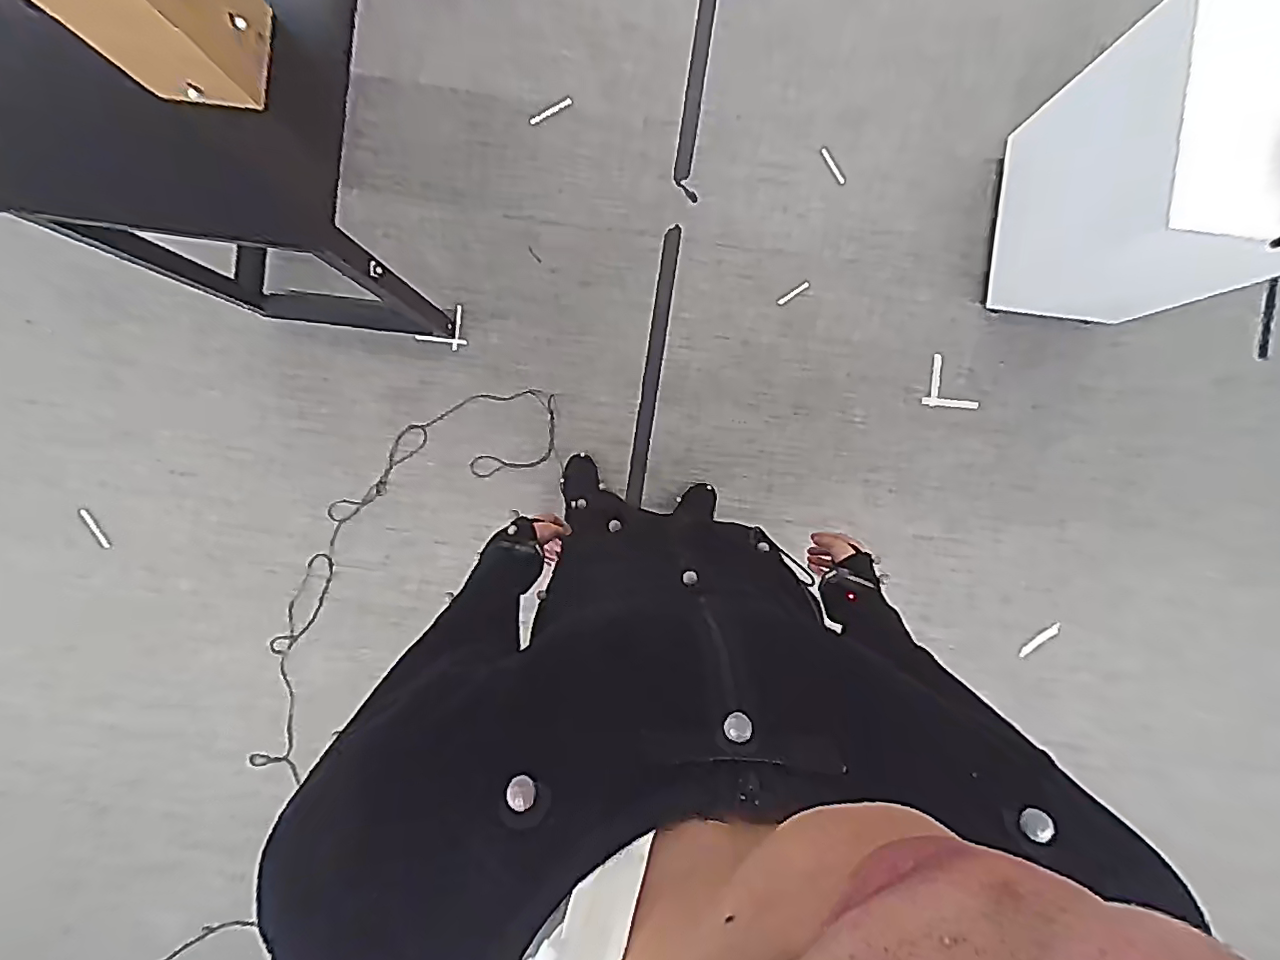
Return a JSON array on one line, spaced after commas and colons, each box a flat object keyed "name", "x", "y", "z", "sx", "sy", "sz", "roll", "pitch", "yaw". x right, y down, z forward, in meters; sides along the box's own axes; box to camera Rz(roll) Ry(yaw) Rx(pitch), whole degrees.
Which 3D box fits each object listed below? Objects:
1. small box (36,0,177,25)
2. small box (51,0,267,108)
[{"name": "small box", "x": -0.695, "y": -0.688, "z": 0.636, "sx": 0.179, "sy": 0.176, "sz": 0.168, "roll": 6, "pitch": 92, "yaw": -1}, {"name": "small box", "x": -0.695, "y": -0.691, "z": 0.801, "sx": 0.179, "sy": 0.176, "sz": 0.168, "roll": 5, "pitch": 91, "yaw": -1}]
